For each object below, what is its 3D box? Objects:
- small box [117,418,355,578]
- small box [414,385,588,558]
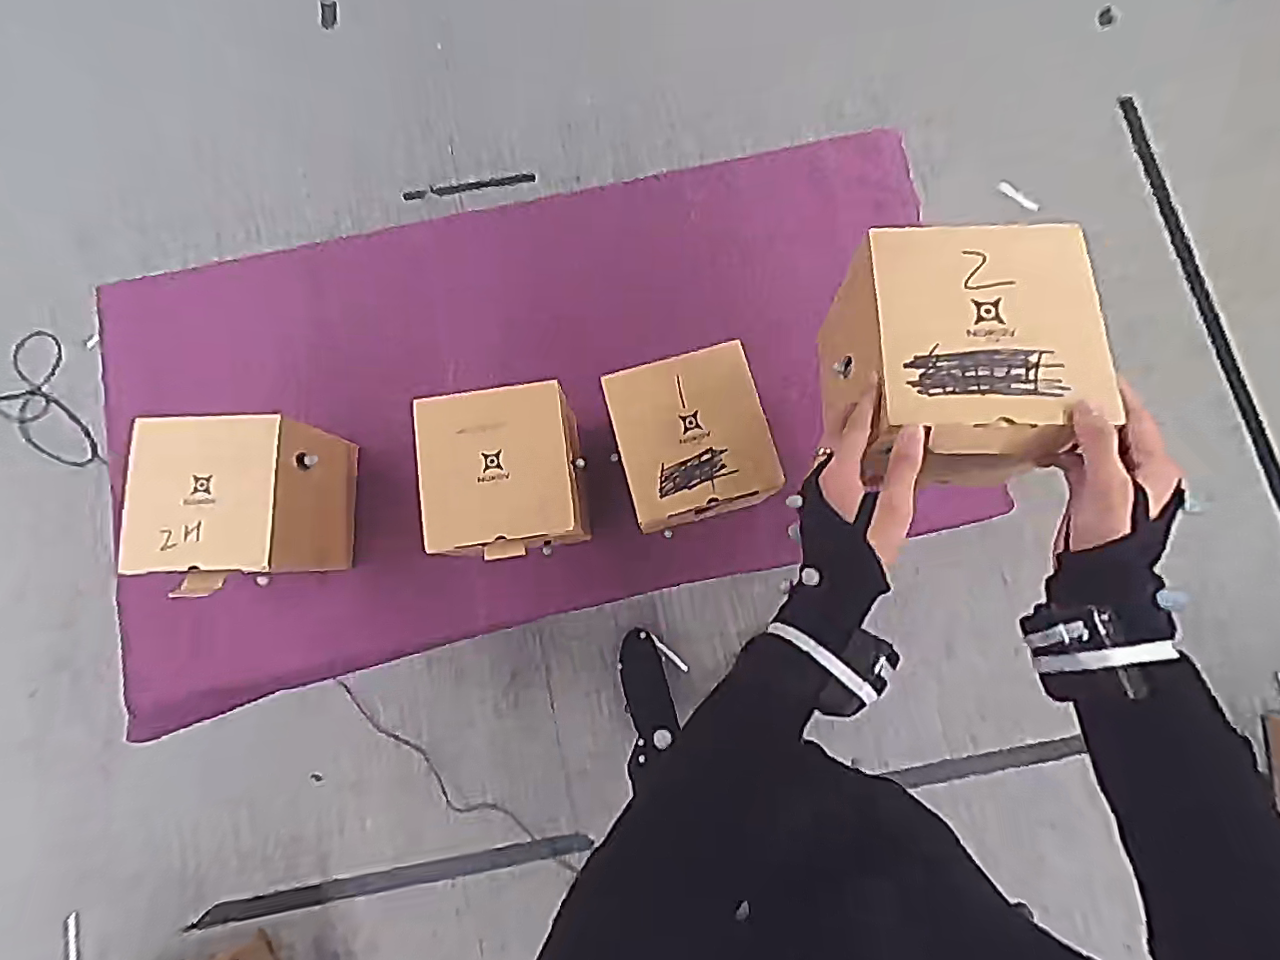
[{"bbox_3d":[-0.477,0.030,0.668,0.168,0.176,0.179,-2,81,1],"label":"small box"},{"bbox_3d":[-0.161,0.000,0.672,0.168,0.176,0.179,-8,81,-1],"label":"small box"}]
